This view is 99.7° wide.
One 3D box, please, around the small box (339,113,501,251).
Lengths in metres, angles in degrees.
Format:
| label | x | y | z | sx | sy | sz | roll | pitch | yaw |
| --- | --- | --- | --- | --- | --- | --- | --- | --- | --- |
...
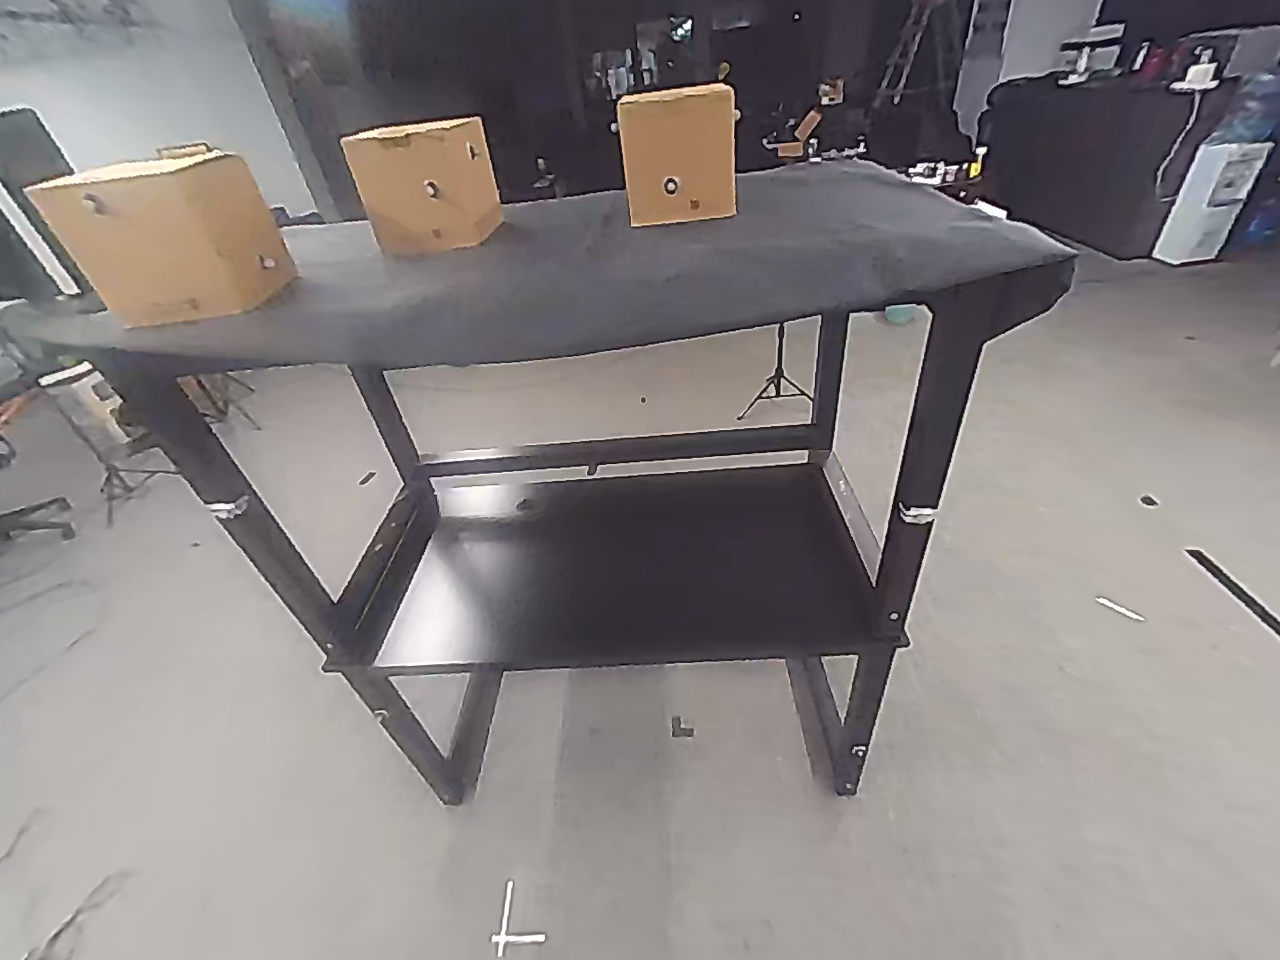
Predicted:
| label | x | y | z | sx | sy | sz | roll | pitch | yaw |
| --- | --- | --- | --- | --- | --- | --- | --- | --- | --- |
| small box | -0.343 | -0.484 | 0.888 | 0.168 | 0.176 | 0.179 | -2 | 39 | 6 |

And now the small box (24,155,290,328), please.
| label | x | y | z | sx | sy | sz | roll | pitch | yaw |
| --- | --- | --- | --- | --- | --- | --- | --- | --- | --- |
| small box | -0.606 | -0.316 | 0.716 | 0.168 | 0.176 | 0.179 | -8 | 38 | -1 |

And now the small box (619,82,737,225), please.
| label | x | y | z | sx | sy | sz | roll | pitch | yaw |
| --- | --- | --- | --- | --- | --- | --- | --- | --- | --- |
| small box | 0.061 | -0.518 | 0.860 | 0.168 | 0.176 | 0.179 | -4 | 39 | 5 |
